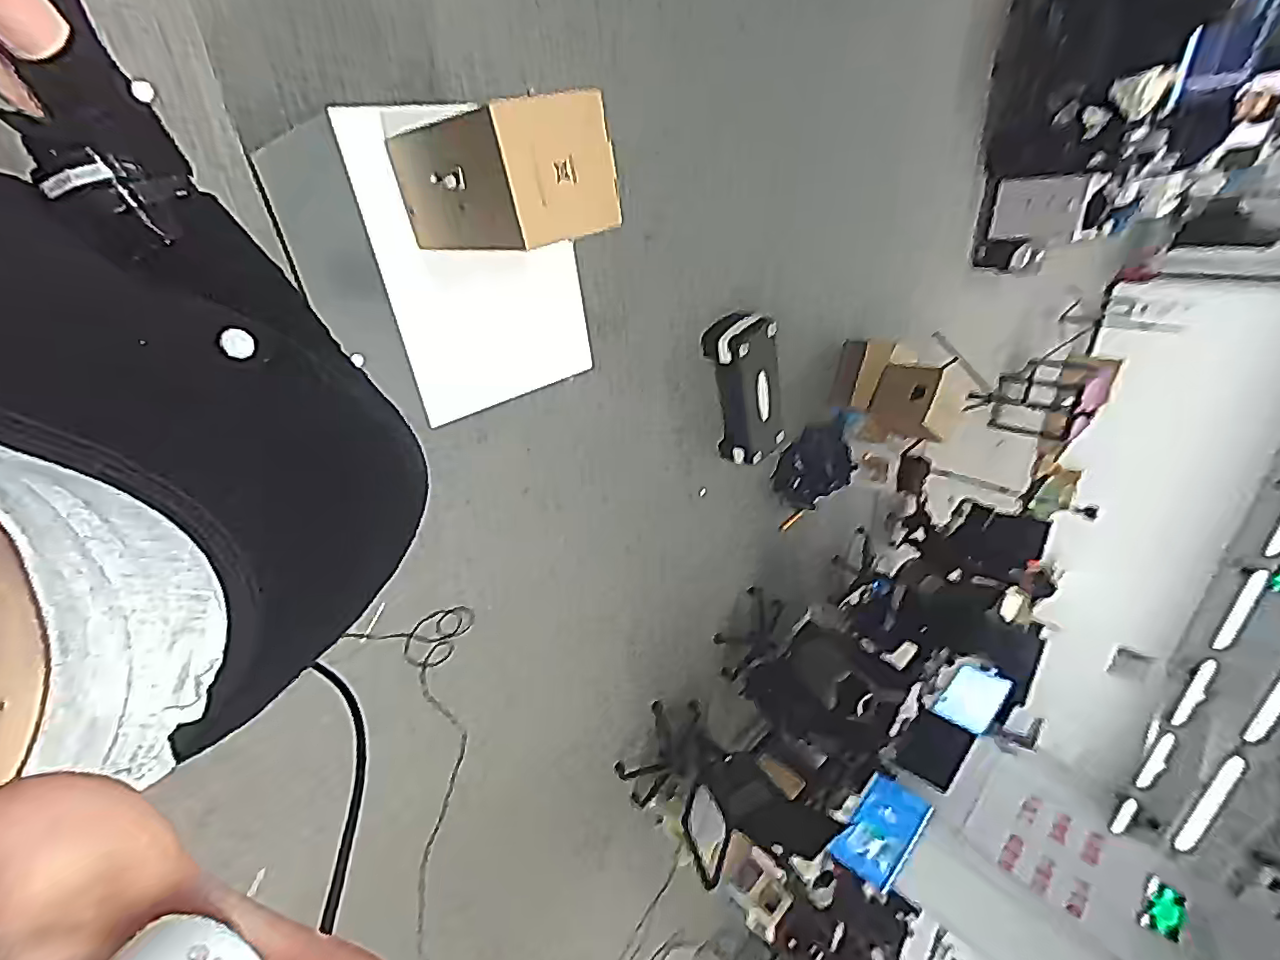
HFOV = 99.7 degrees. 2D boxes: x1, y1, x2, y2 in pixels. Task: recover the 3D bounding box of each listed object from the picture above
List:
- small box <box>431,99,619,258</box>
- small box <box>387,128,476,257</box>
[{"bbox_3d":[-0.157,-0.418,0.756,0.179,0.176,0.168,-33,128,-32],"label":"small box"},{"bbox_3d":[-0.268,-0.464,0.866,0.179,0.176,0.168,-32,128,-34],"label":"small box"}]
